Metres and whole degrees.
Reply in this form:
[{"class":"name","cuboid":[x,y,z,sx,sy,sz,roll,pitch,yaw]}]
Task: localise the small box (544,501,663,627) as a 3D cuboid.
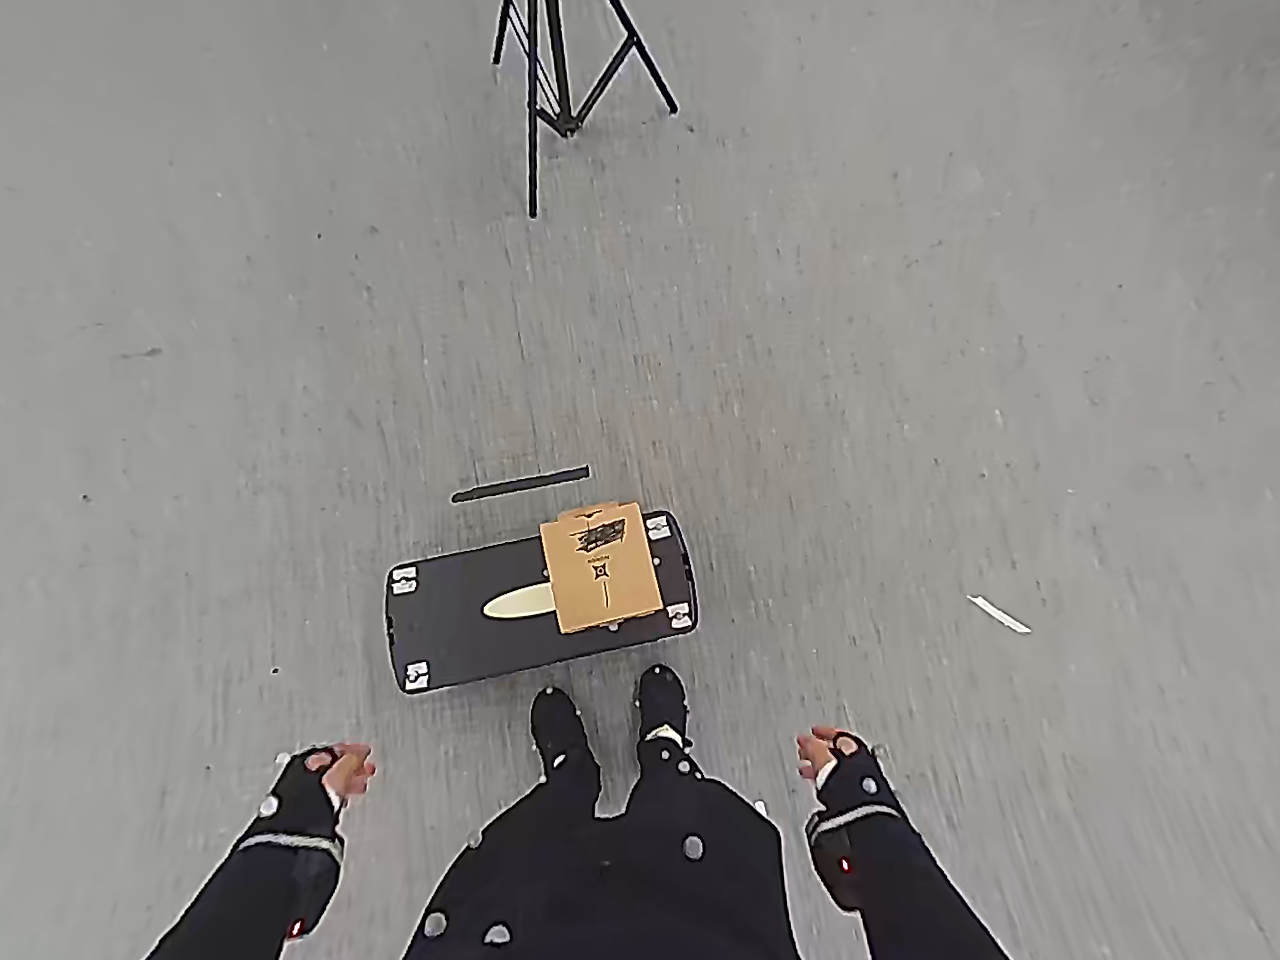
[{"class":"small box","cuboid":[-0.062,0.151,0.943,0.168,0.176,0.179,-13,78,-3]}]
